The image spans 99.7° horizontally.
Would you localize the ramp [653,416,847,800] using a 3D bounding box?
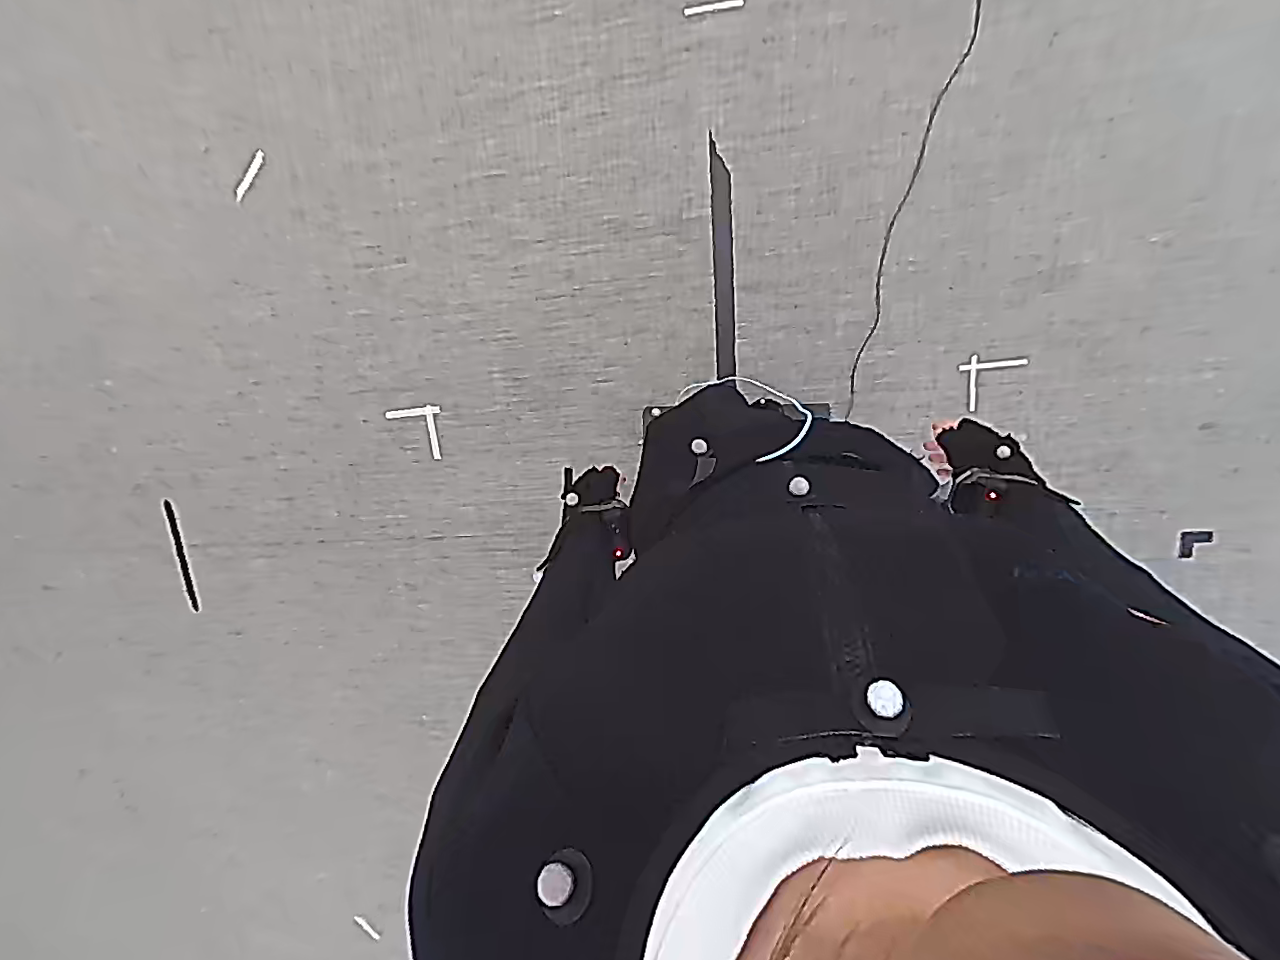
[{"bbox_3d":[0.284,0.337,1.449,0.509,0.206,0.991,-3,99,11],"label":"ramp"}]
